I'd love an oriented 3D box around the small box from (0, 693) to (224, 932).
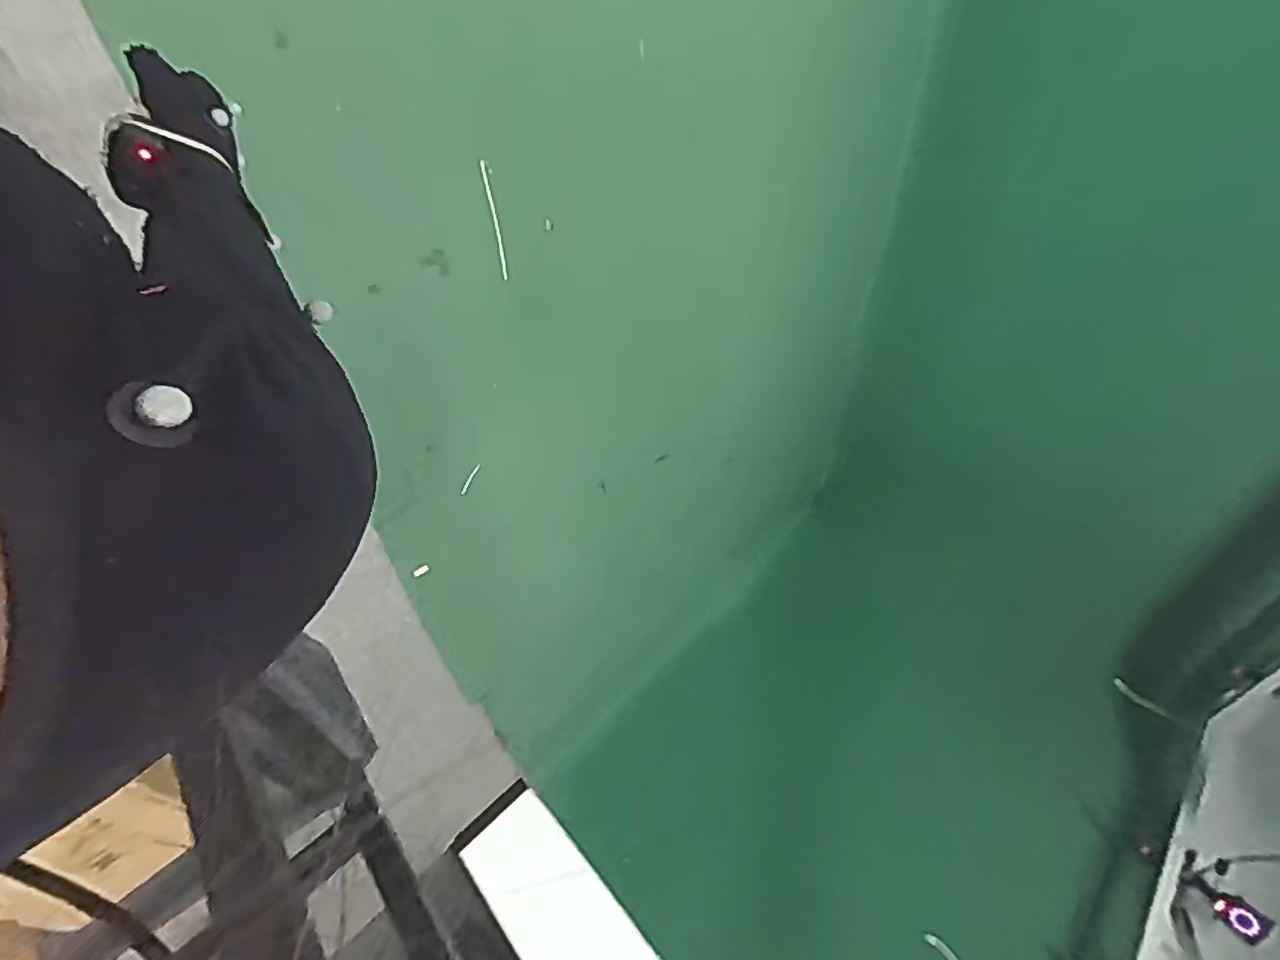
[{"bbox_3d":[-0.674,0.404,0.674,0.168,0.176,0.179,-36,140,-28],"label":"small box"}]
